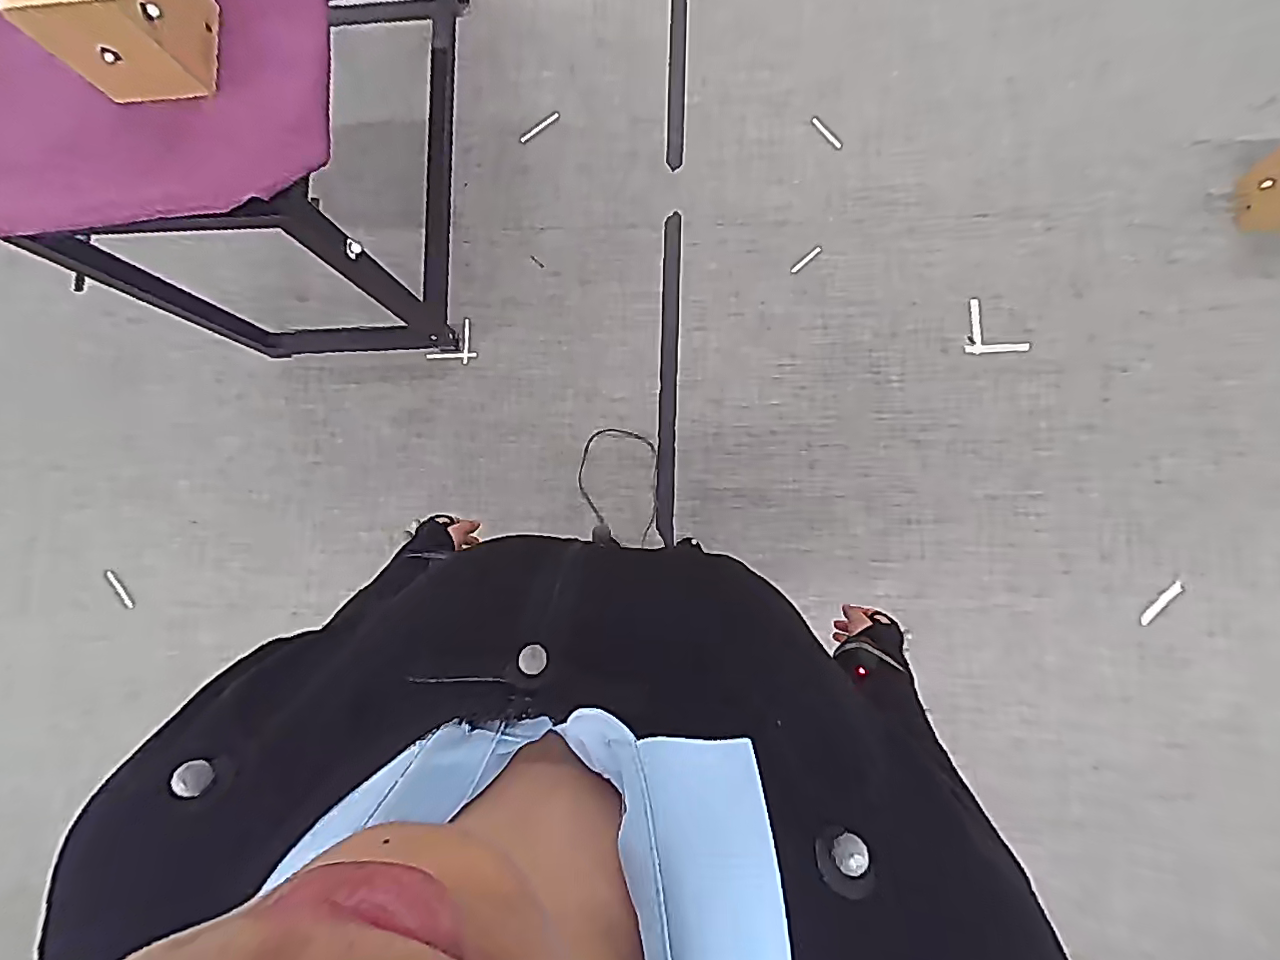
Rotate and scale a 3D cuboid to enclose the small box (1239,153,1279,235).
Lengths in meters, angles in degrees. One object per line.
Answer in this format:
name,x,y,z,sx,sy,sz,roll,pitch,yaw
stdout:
small box,1.747,-0.766,1.423,0.179,0.176,0.168,3,85,3
